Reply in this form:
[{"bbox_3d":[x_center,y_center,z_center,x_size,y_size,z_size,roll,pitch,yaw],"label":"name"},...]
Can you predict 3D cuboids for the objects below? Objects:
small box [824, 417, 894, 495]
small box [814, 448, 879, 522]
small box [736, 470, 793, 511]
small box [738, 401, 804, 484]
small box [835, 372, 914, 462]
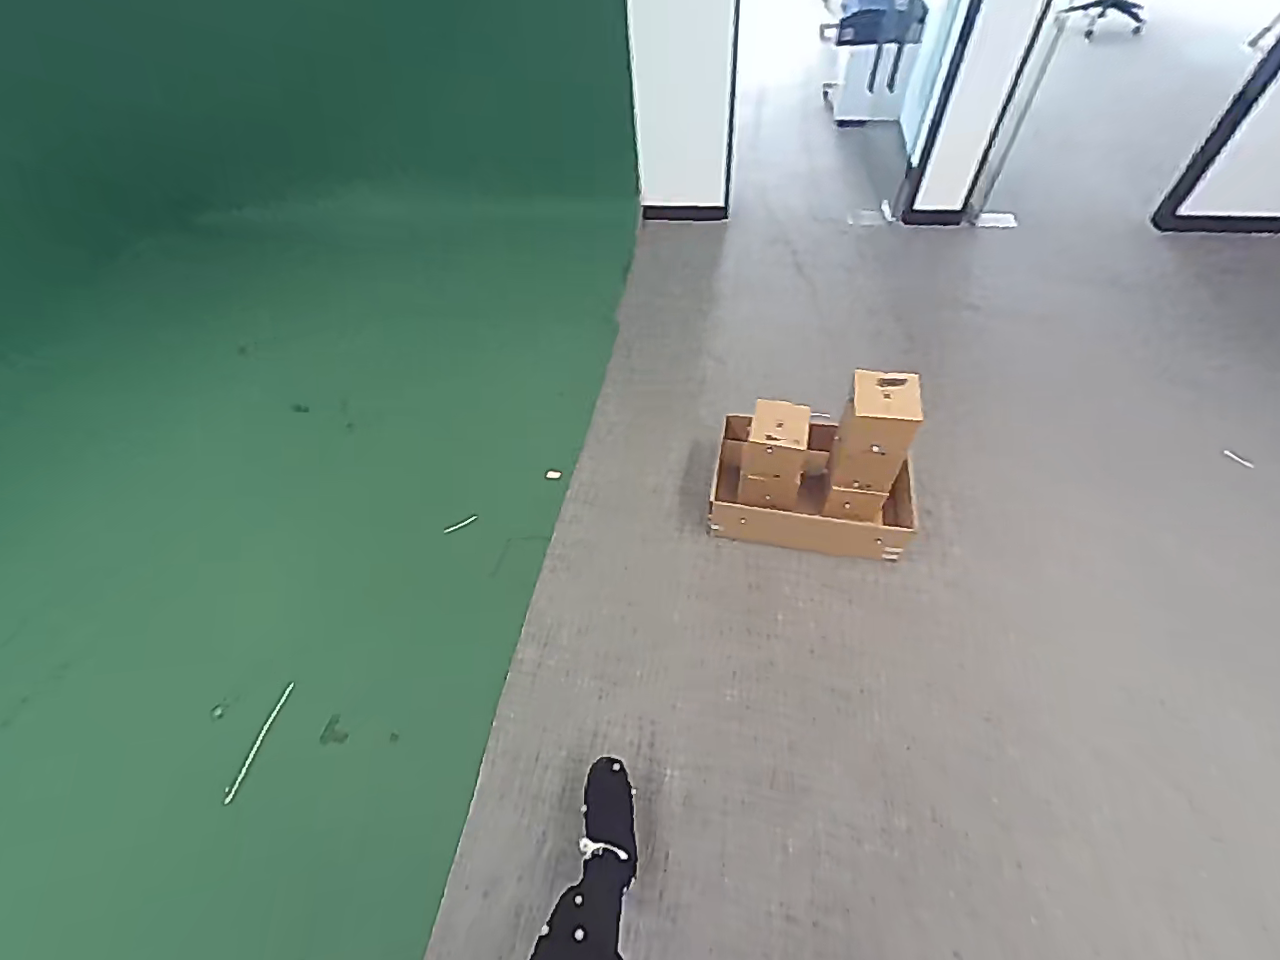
[{"bbox_3d":[0.661,-0.081,1.644,0.168,0.176,0.179,7,55,12],"label":"small box"},{"bbox_3d":[0.673,0.019,1.773,0.168,0.176,0.179,7,54,9],"label":"small box"},{"bbox_3d":[0.417,-0.016,1.813,0.168,0.176,0.179,7,55,7],"label":"small box"},{"bbox_3d":[0.405,-0.115,1.682,0.168,0.176,0.179,10,54,12],"label":"small box"},{"bbox_3d":[0.646,-0.175,1.510,0.168,0.176,0.179,6,55,11],"label":"small box"}]
